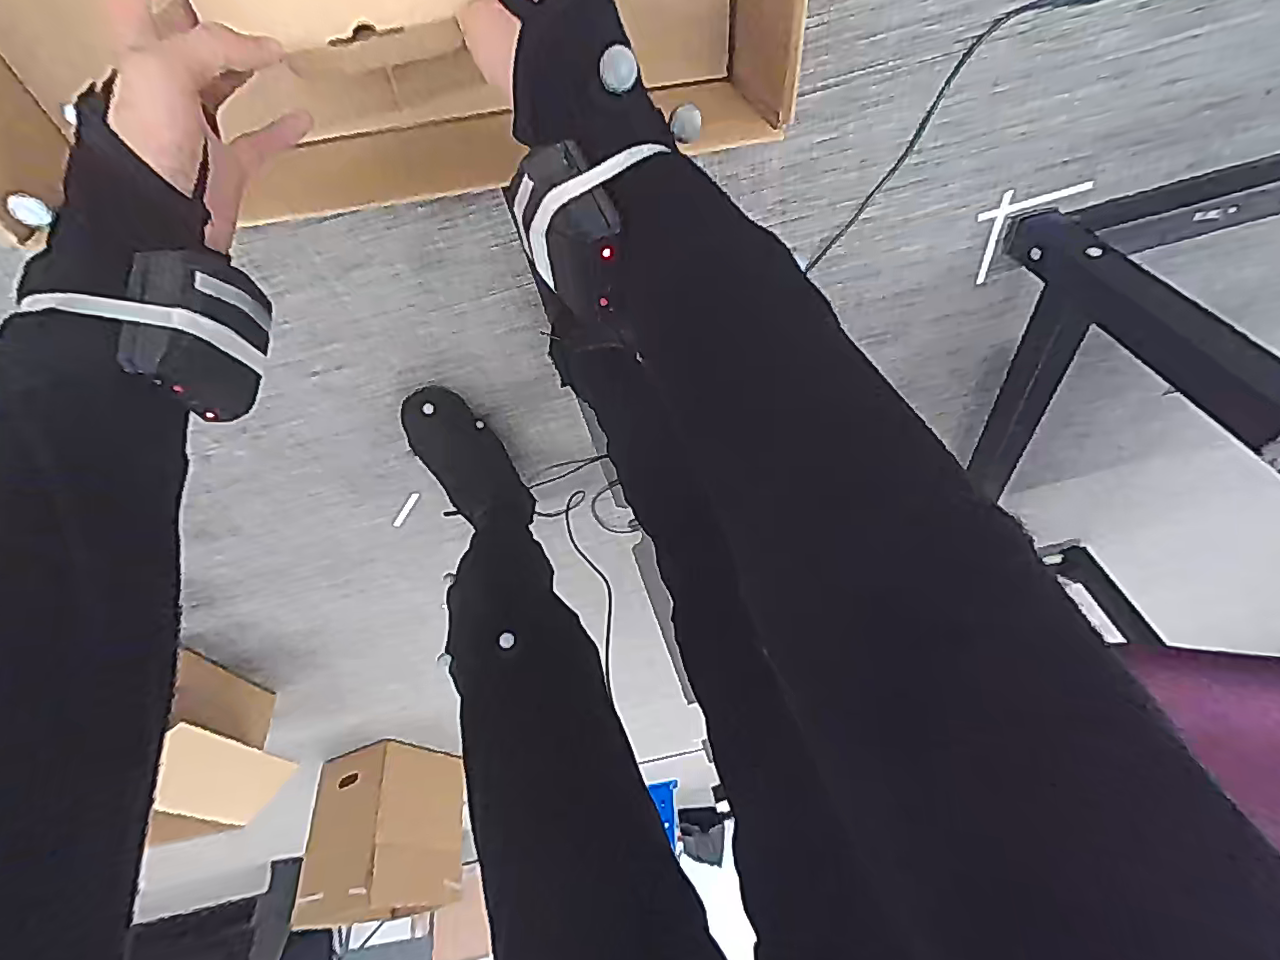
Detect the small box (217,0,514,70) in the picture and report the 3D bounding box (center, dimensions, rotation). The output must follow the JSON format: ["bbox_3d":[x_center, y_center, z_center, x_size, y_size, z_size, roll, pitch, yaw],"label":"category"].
[{"bbox_3d":[-0.175,-0.377,0.323,0.168,0.176,0.179,-11,134,-1],"label":"small box"}]
